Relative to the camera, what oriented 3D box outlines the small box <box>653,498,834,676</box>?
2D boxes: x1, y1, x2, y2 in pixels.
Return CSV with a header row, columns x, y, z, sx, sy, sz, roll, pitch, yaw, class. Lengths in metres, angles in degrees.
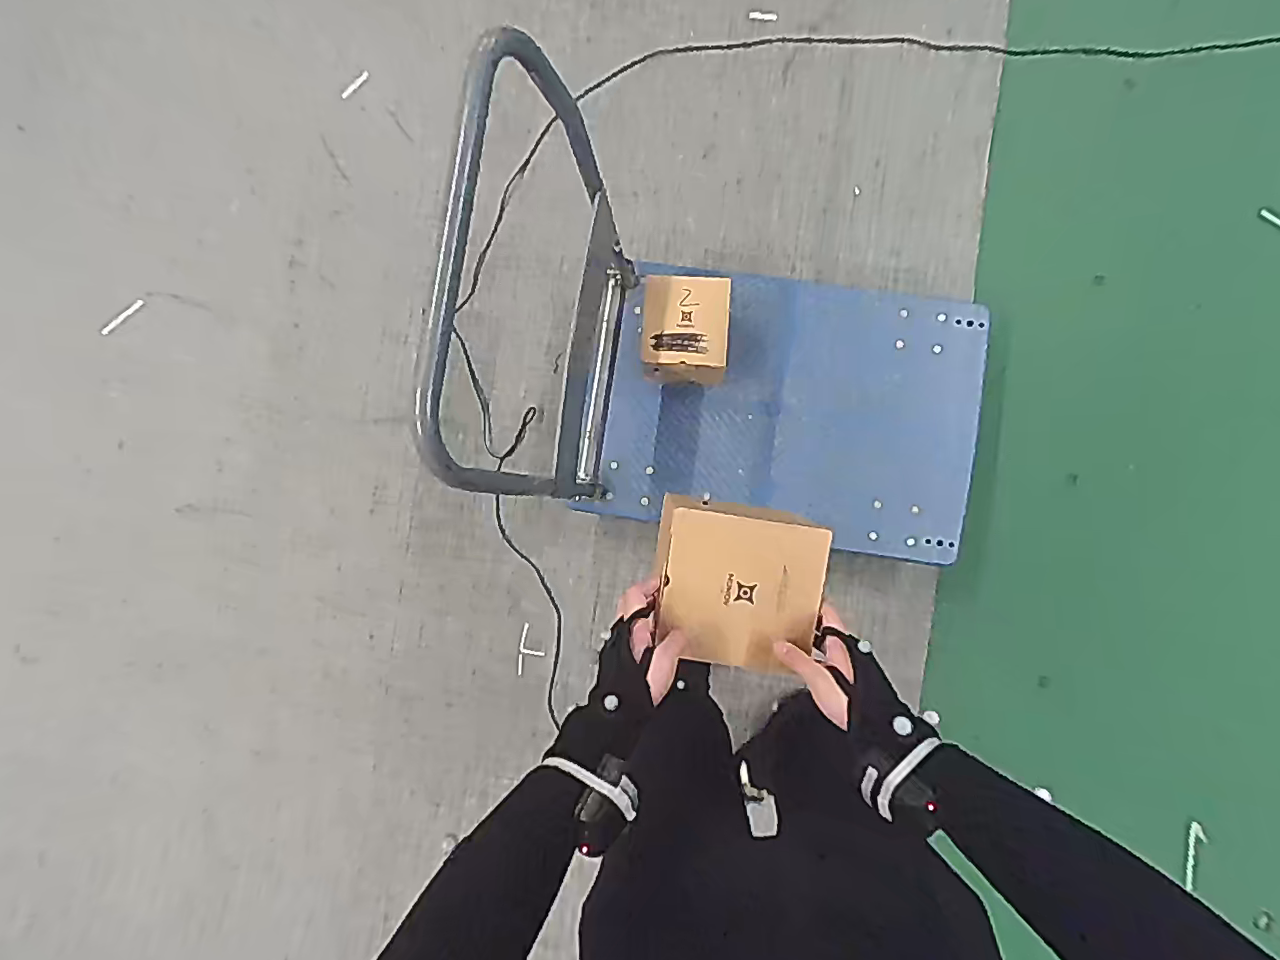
x,y,z,sx,sy,sz,roll,pitch,yaw,class
0.113,0.119,0.670,0.179,0.176,0.168,9,93,-1,small box
